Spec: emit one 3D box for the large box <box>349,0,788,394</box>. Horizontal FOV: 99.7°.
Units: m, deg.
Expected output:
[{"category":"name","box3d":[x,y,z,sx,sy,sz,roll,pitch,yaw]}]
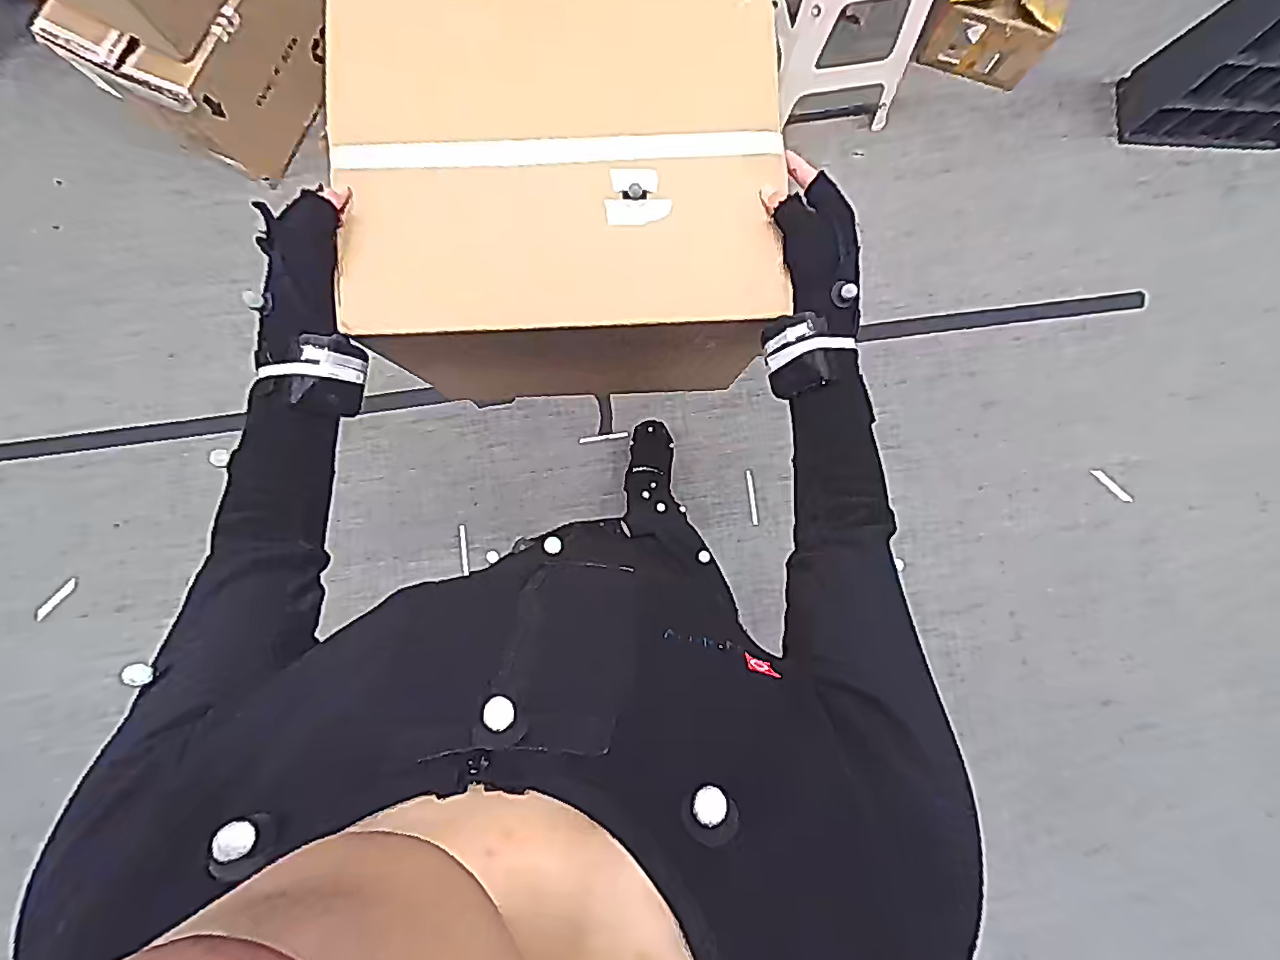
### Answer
[{"category":"large box","box3d":[-0.073,-0.295,0.654,0.408,0.320,0.320,-3,89,-2]}]
